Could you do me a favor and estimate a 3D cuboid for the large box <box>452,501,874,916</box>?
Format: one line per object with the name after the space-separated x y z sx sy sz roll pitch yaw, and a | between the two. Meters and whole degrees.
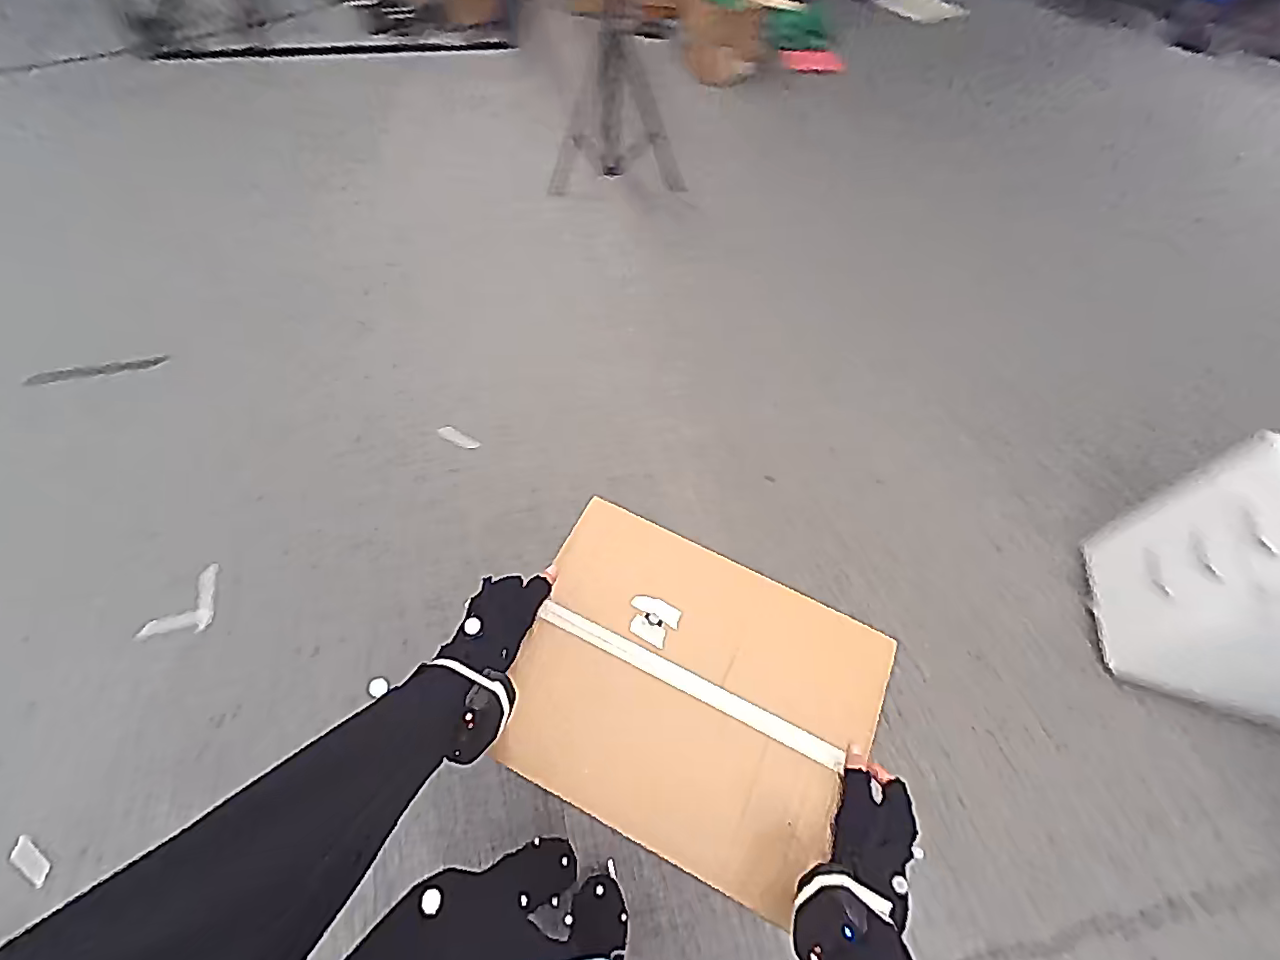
0.035 0.290 0.742 0.408 0.320 0.320 24 63 9 | large box
